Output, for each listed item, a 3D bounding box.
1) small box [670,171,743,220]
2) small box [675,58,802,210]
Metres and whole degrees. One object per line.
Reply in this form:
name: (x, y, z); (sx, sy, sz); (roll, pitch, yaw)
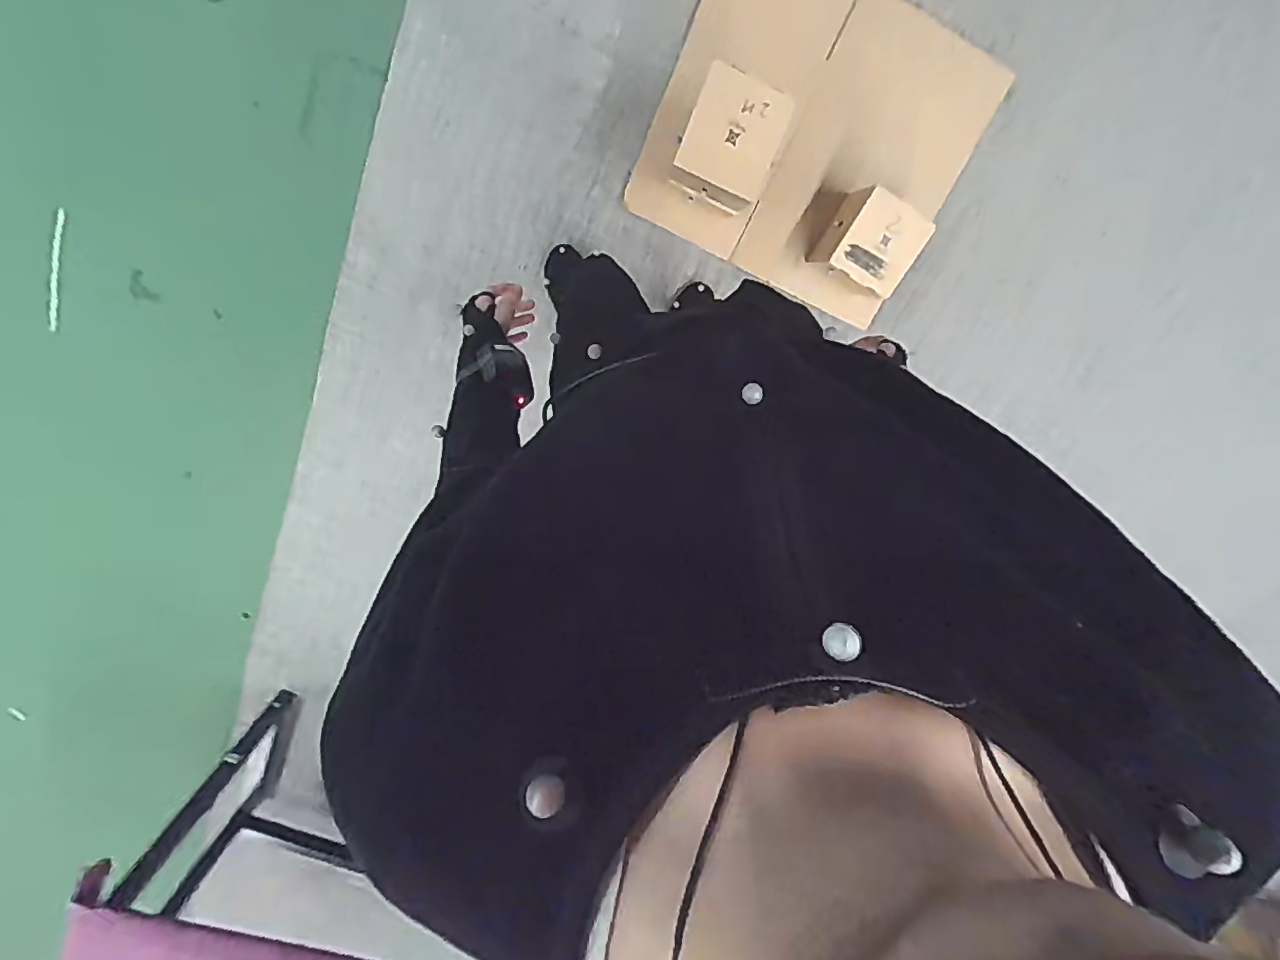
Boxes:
small box: (0.173, -0.690, 1.177); (0.168, 0.176, 0.179); (22, 109, -8)
small box: (0.173, -0.635, 1.021); (0.168, 0.176, 0.179); (22, 109, -9)
